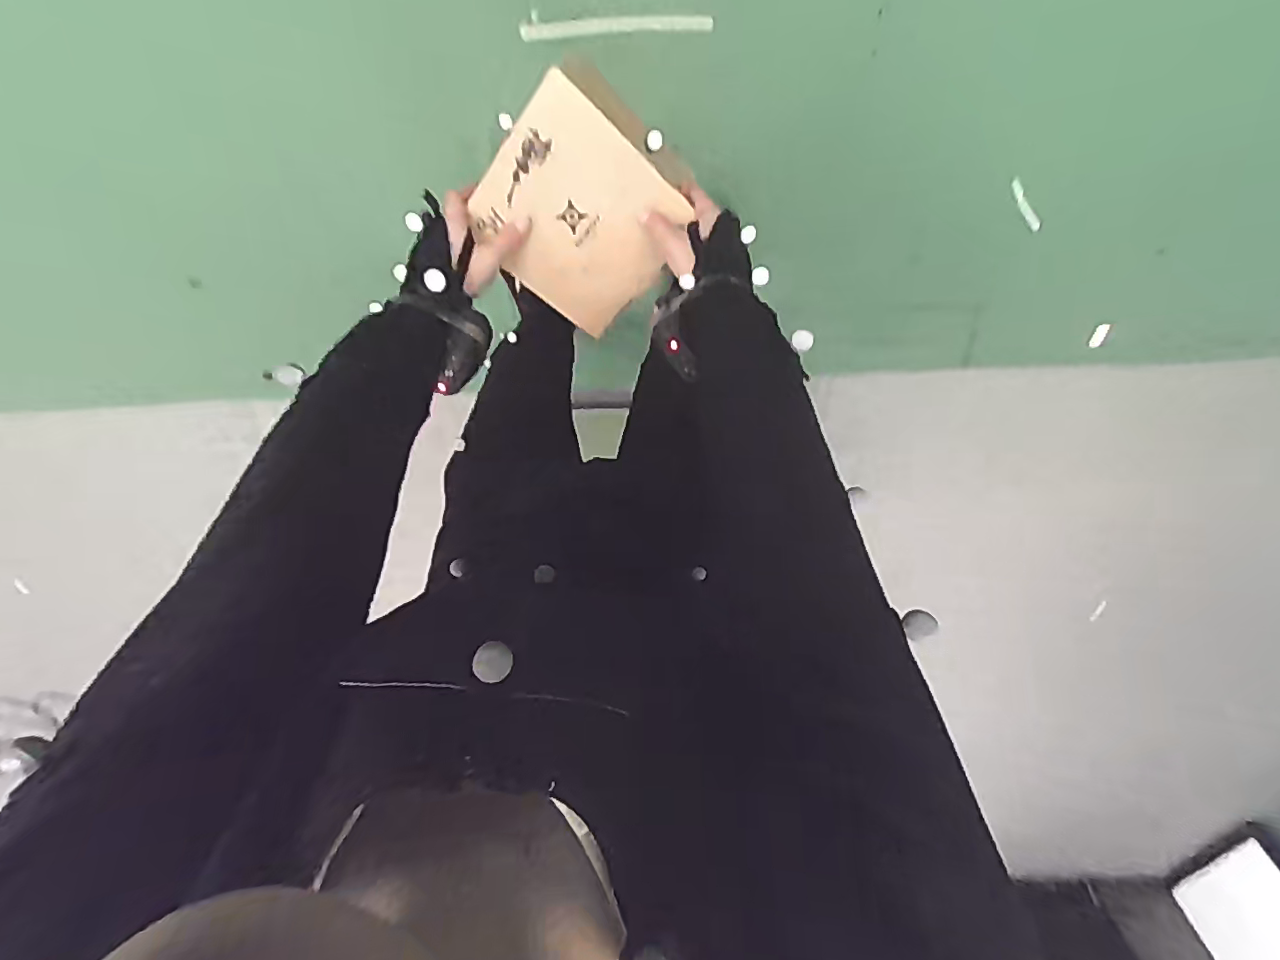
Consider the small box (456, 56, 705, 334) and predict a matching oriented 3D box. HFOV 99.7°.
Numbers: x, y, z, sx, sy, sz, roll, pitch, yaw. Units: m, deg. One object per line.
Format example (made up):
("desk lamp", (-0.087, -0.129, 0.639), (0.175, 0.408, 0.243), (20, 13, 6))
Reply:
("small box", (-0.055, -0.295, 0.560), (0.179, 0.176, 0.168), (34, 124, -27))
